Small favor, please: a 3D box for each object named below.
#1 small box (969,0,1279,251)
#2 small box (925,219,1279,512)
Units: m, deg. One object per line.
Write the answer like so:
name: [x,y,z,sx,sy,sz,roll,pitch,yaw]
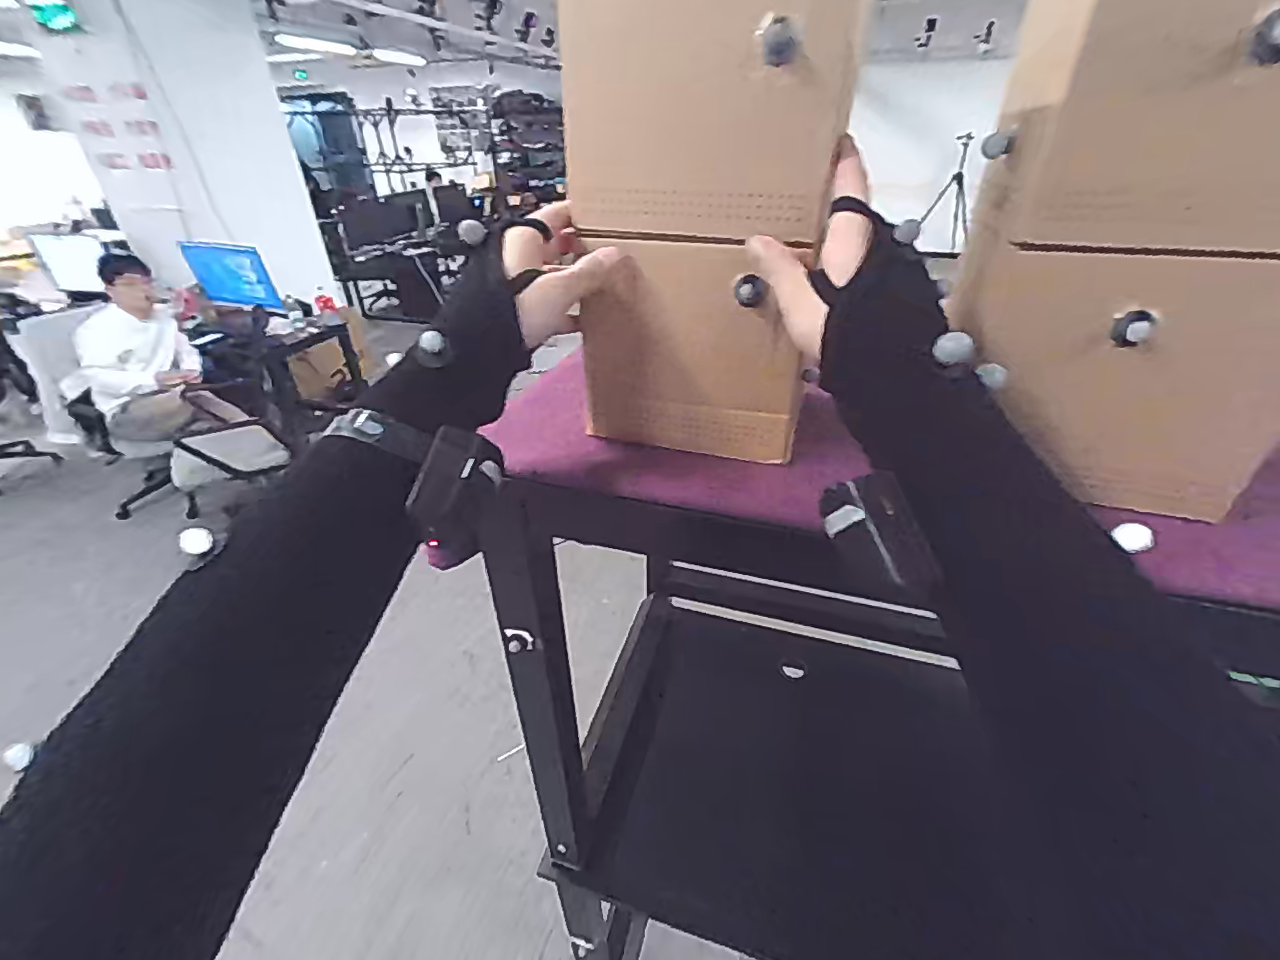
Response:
small box: [0.321,-0.233,0.316,0.179,0.176,0.168,9,33,18]
small box: [0.326,-0.094,0.404,0.179,0.176,0.168,10,34,18]
